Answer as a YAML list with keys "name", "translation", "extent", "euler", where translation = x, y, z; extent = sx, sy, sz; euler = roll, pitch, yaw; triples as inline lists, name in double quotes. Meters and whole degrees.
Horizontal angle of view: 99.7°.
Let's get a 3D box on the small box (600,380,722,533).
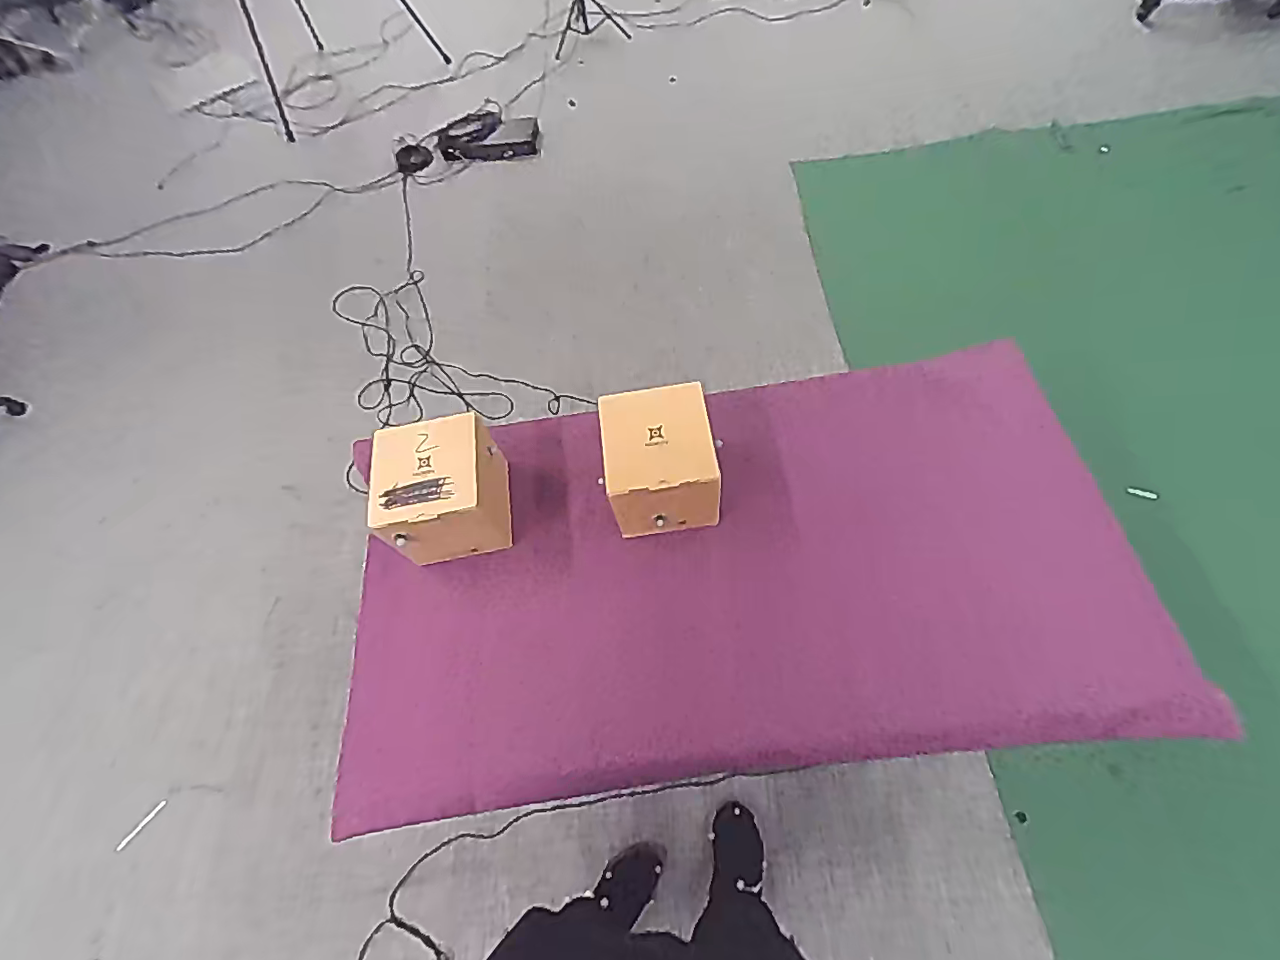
- name: "small box"
  translation: [0.033, -0.032, 0.873]
  extent: [0.168, 0.176, 0.179]
  euler: [-9, 63, 2]
